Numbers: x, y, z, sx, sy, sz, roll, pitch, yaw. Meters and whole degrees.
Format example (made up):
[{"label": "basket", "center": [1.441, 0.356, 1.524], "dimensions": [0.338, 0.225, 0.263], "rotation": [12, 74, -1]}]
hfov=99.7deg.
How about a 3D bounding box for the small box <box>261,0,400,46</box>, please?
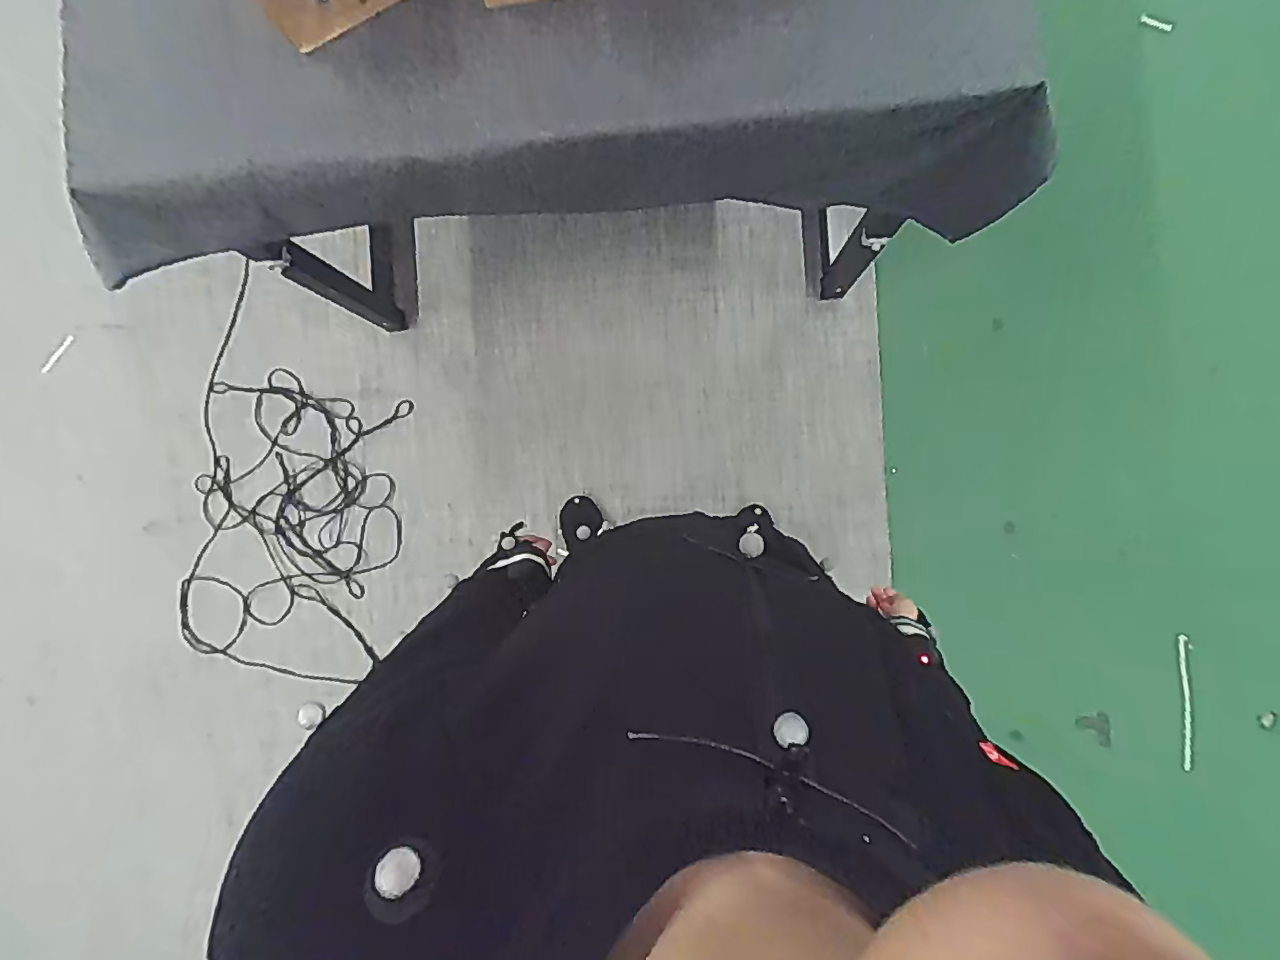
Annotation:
[{"label": "small box", "center": [-0.394, -0.649, 0.596], "dimensions": [0.168, 0.176, 0.179], "rotation": [-26, 88, 3]}]
